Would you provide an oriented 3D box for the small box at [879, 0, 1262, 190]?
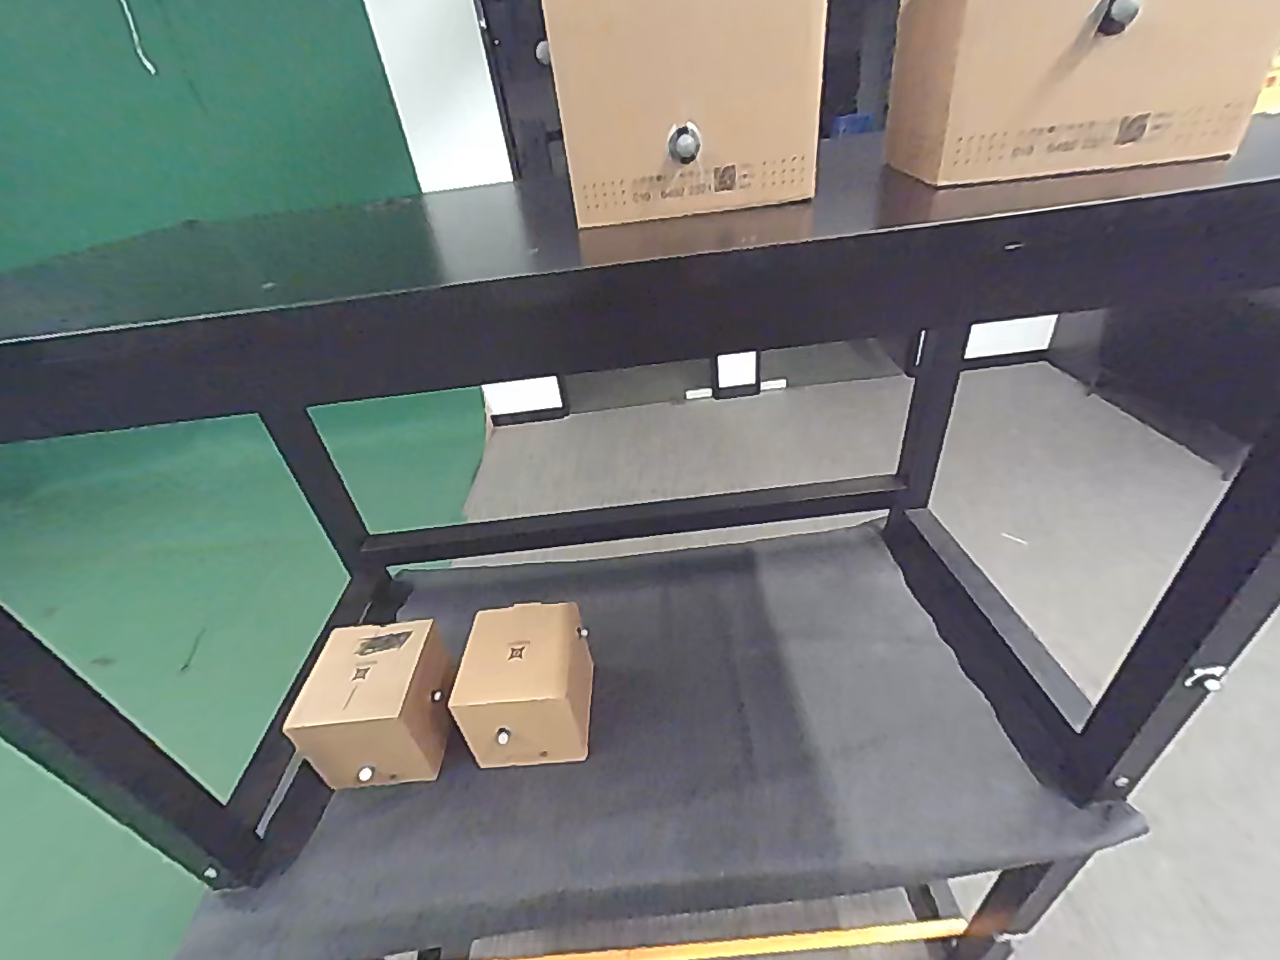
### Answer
[{"bbox_3d":[0.275,-0.306,0.372,0.168,0.176,0.179,0,34,11],"label":"small box"}]

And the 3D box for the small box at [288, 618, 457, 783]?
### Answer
[{"bbox_3d":[-0.400,0.345,0.853,0.168,0.176,0.179,-6,34,2],"label":"small box"}]

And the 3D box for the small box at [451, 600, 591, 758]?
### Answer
[{"bbox_3d":[-0.174,0.318,0.855,0.168,0.176,0.179,-6,33,3],"label":"small box"}]
